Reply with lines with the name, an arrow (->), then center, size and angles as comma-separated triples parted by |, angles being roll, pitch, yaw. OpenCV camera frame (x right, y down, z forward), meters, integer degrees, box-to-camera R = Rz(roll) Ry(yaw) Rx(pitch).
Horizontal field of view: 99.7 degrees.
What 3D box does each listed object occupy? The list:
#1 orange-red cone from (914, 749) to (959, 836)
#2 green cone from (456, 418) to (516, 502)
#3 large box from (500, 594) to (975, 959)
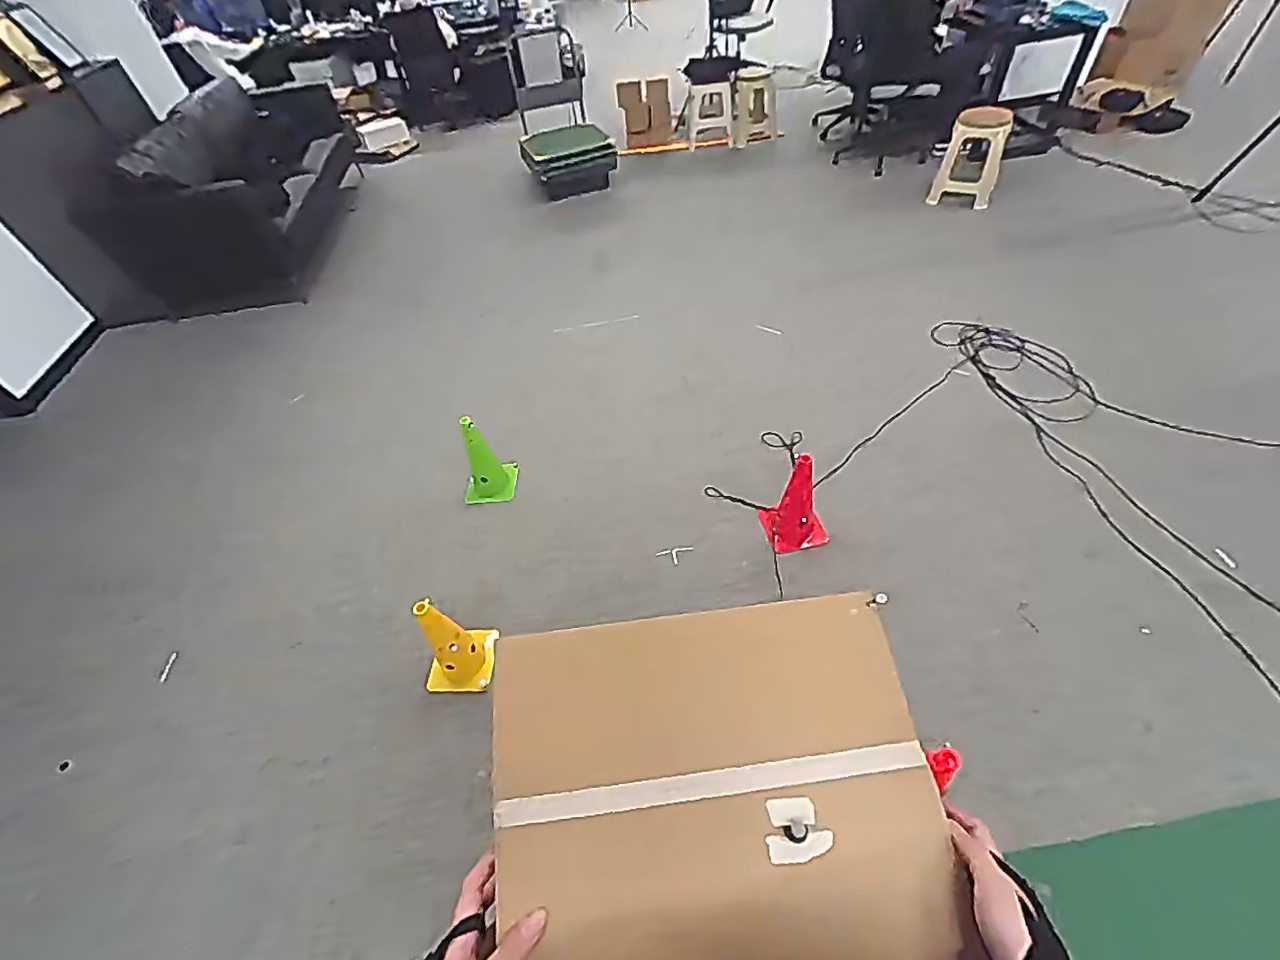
orange-red cone -> 0.653, 0.685, 1.247 | 0.199, 0.360, 0.198 | -3, 50, 2
green cone -> -0.632, -0.102, 2.084 | 0.200, 0.368, 0.202 | -6, 50, 3
large box -> 0.070, 0.352, 0.645 | 0.408, 0.320, 0.320 | -7, 65, -3
